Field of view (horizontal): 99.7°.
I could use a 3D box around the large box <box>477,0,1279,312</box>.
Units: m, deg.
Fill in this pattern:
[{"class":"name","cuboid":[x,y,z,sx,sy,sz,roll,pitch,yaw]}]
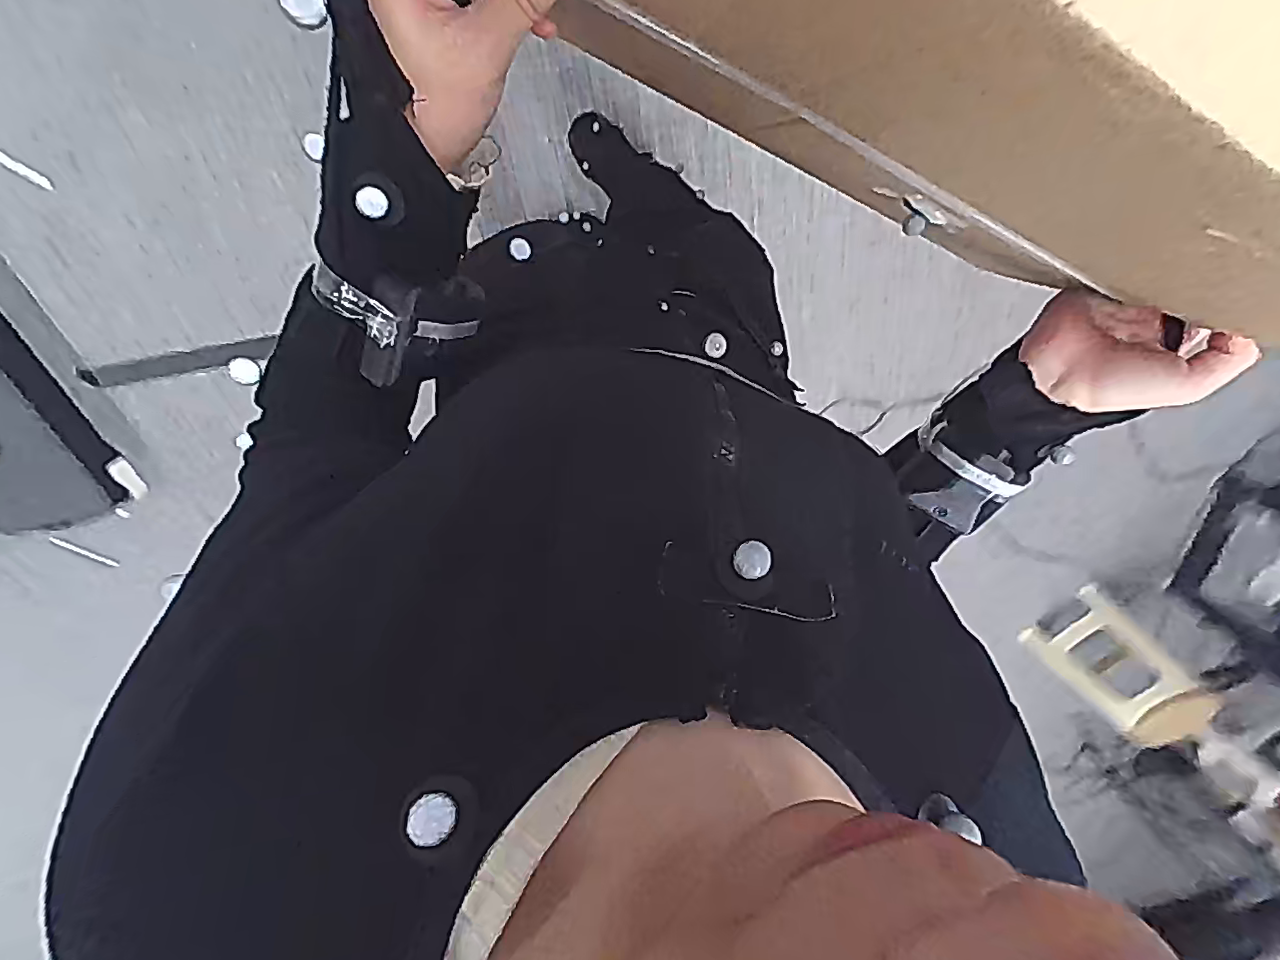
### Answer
[{"class":"large box","cuboid":[0.152,-0.289,0.182,0.408,0.320,0.320,15,119,-15]}]
